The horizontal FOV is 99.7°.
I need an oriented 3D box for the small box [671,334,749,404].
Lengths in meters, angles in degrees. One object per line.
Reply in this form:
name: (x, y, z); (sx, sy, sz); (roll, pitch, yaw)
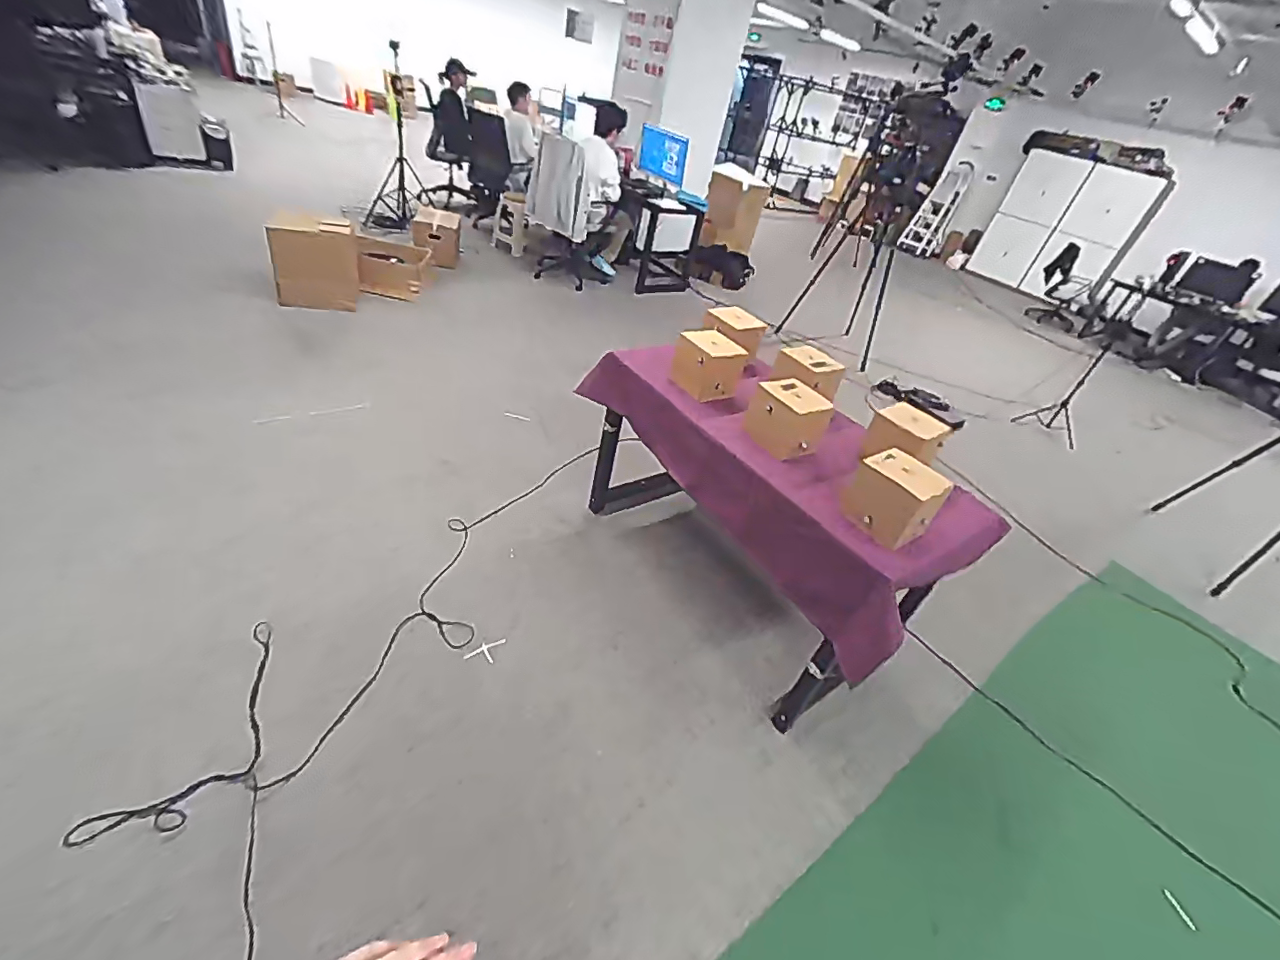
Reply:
small box: (0.229, -0.377, 1.820); (0.168, 0.176, 0.179); (-14, 46, -34)

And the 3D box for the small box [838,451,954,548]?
small box: (0.649, 0.054, 1.385); (0.168, 0.176, 0.179); (-16, 46, -36)

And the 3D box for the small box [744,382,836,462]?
small box: (0.443, -0.176, 1.624); (0.168, 0.176, 0.179); (-13, 45, -32)

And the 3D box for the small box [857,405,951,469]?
small box: (0.800, -0.106, 1.652); (0.179, 0.176, 0.168); (-18, 46, -36)
